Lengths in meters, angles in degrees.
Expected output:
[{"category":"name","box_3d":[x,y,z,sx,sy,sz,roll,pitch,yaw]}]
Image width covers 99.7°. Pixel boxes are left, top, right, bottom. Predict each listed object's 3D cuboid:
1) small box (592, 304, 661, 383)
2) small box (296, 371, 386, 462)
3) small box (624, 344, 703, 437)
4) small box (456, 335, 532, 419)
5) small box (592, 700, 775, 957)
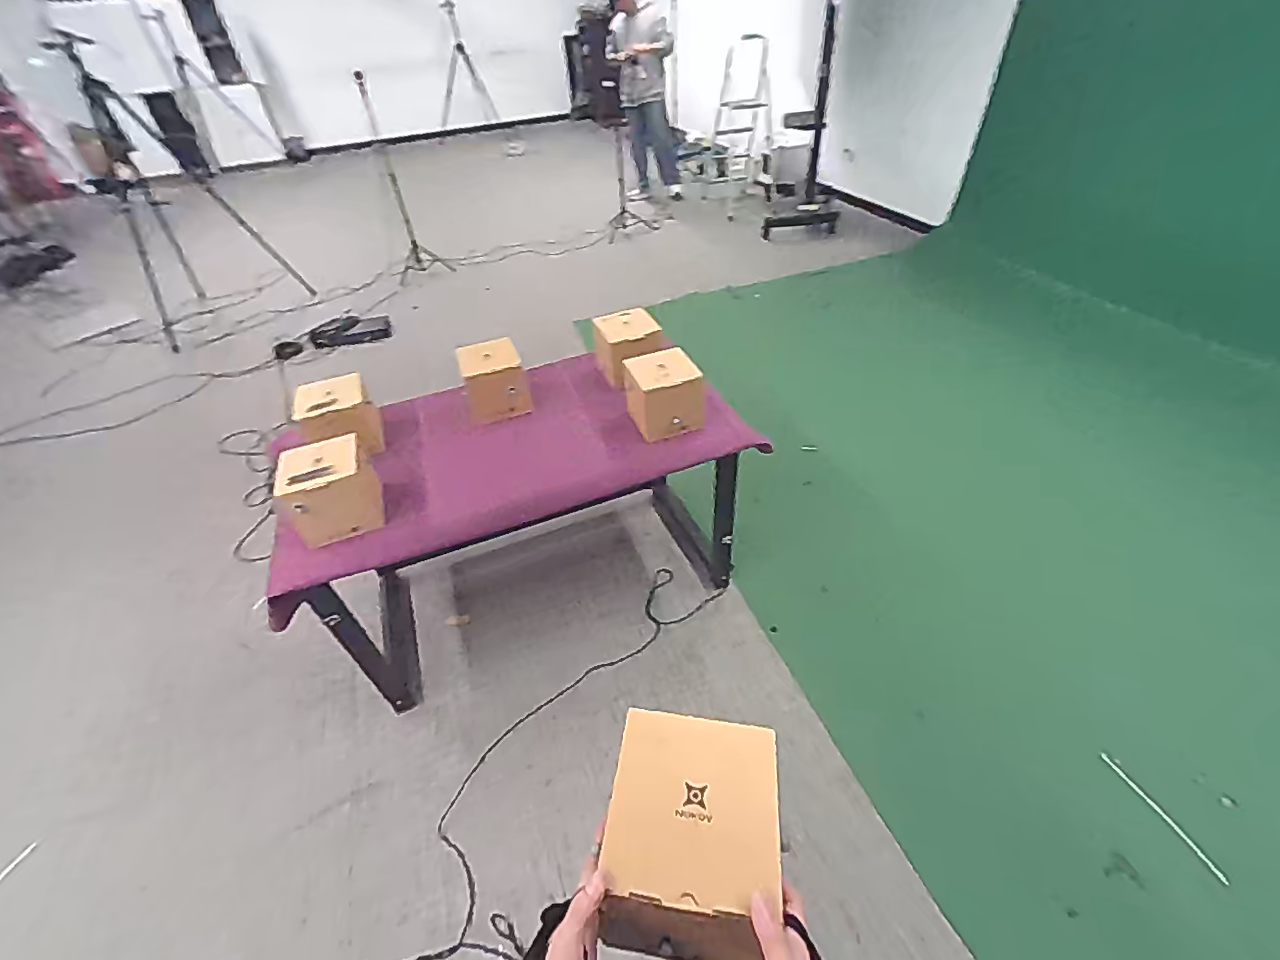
[{"category":"small box","box_3d":[-0.036,-0.416,1.676,0.168,0.176,0.179,-18,45,-13]},{"category":"small box","box_3d":[-0.815,-0.167,1.486,0.168,0.176,0.179,-19,44,-15]},{"category":"small box","box_3d":[0.064,-0.244,1.477,0.168,0.176,0.179,-17,44,-10]},{"category":"small box","box_3d":[-0.426,-0.298,1.591,0.168,0.176,0.179,-18,44,-14]},{"category":"small box","box_3d":[0.048,0.372,0.586,0.168,0.176,0.179,5,38,7]}]
